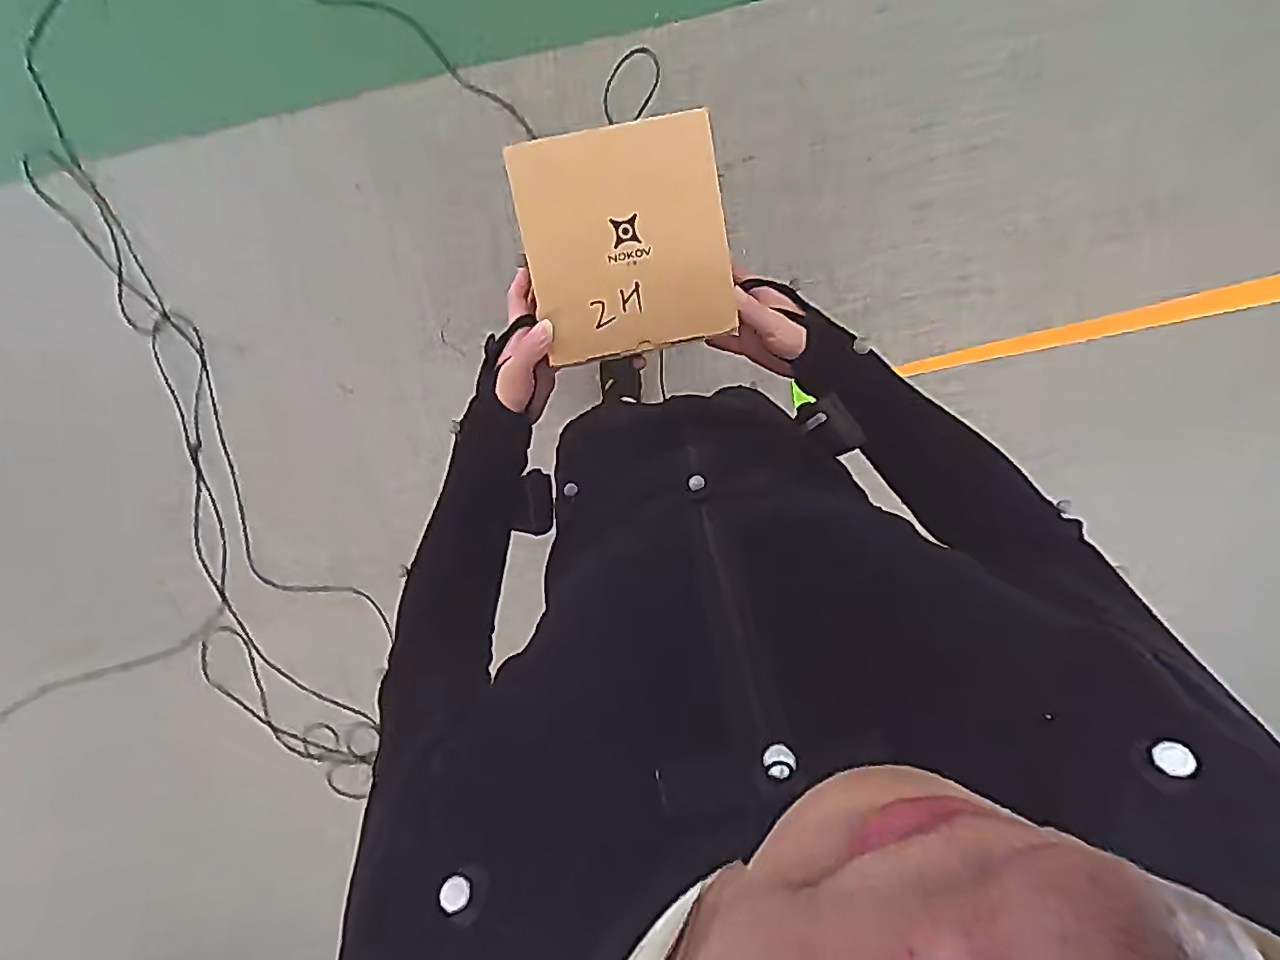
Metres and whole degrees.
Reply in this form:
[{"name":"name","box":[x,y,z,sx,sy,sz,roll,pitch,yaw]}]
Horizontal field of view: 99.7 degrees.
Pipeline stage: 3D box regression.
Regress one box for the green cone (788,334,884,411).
[{"name":"green cone","box":[0.539,-0.274,1.401,0.202,0.368,0.200,-11,103,2]}]
